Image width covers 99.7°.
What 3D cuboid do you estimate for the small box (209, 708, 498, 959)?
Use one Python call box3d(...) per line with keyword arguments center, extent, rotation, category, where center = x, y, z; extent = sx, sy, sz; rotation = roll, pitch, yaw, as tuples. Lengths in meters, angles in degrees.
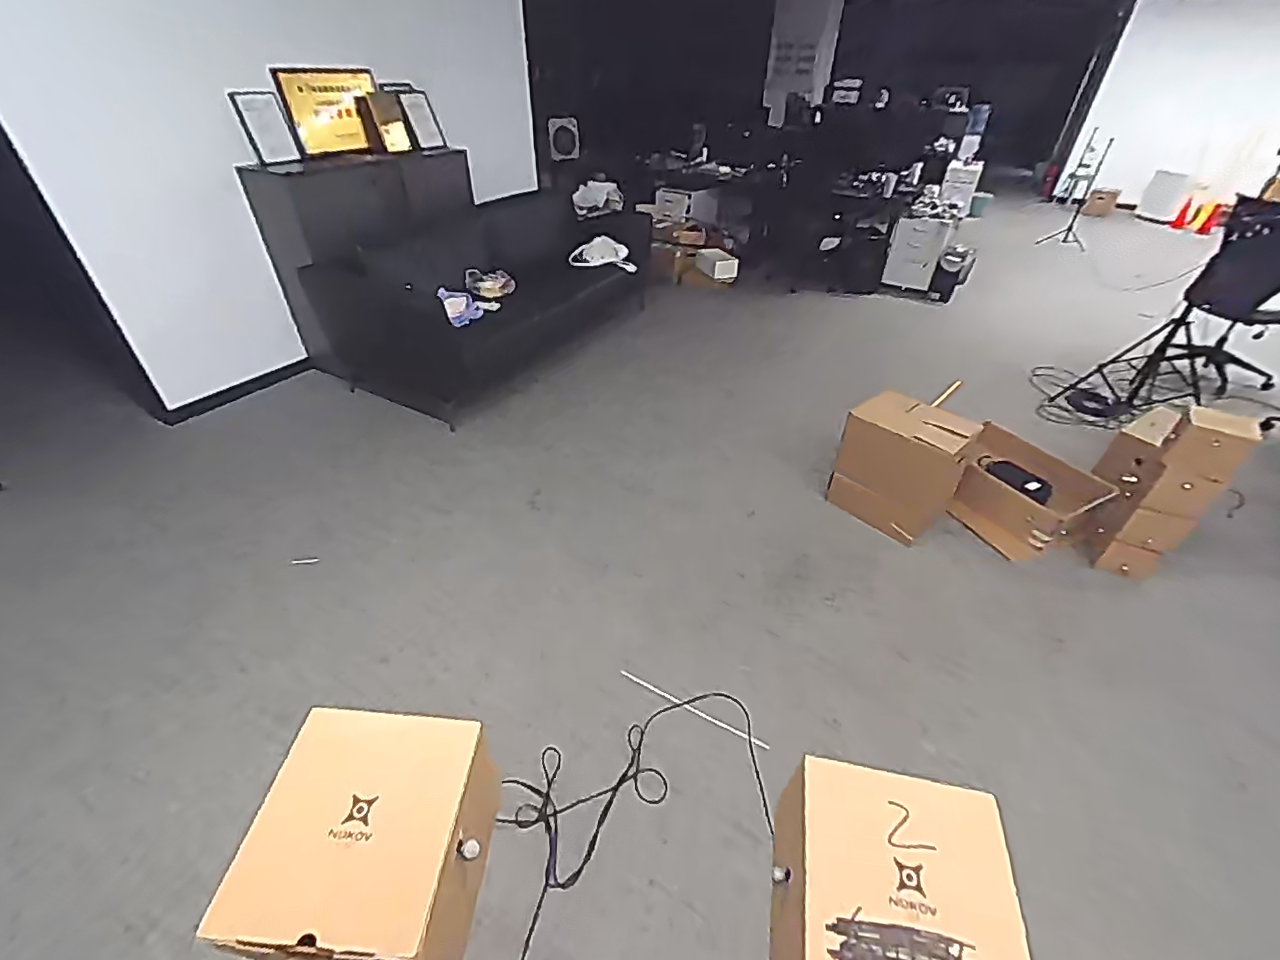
box3d(center=(-0.241, 0.346, 0.515), extent=(0.168, 0.176, 0.179), rotation=(5, 43, 1), category="small box")
